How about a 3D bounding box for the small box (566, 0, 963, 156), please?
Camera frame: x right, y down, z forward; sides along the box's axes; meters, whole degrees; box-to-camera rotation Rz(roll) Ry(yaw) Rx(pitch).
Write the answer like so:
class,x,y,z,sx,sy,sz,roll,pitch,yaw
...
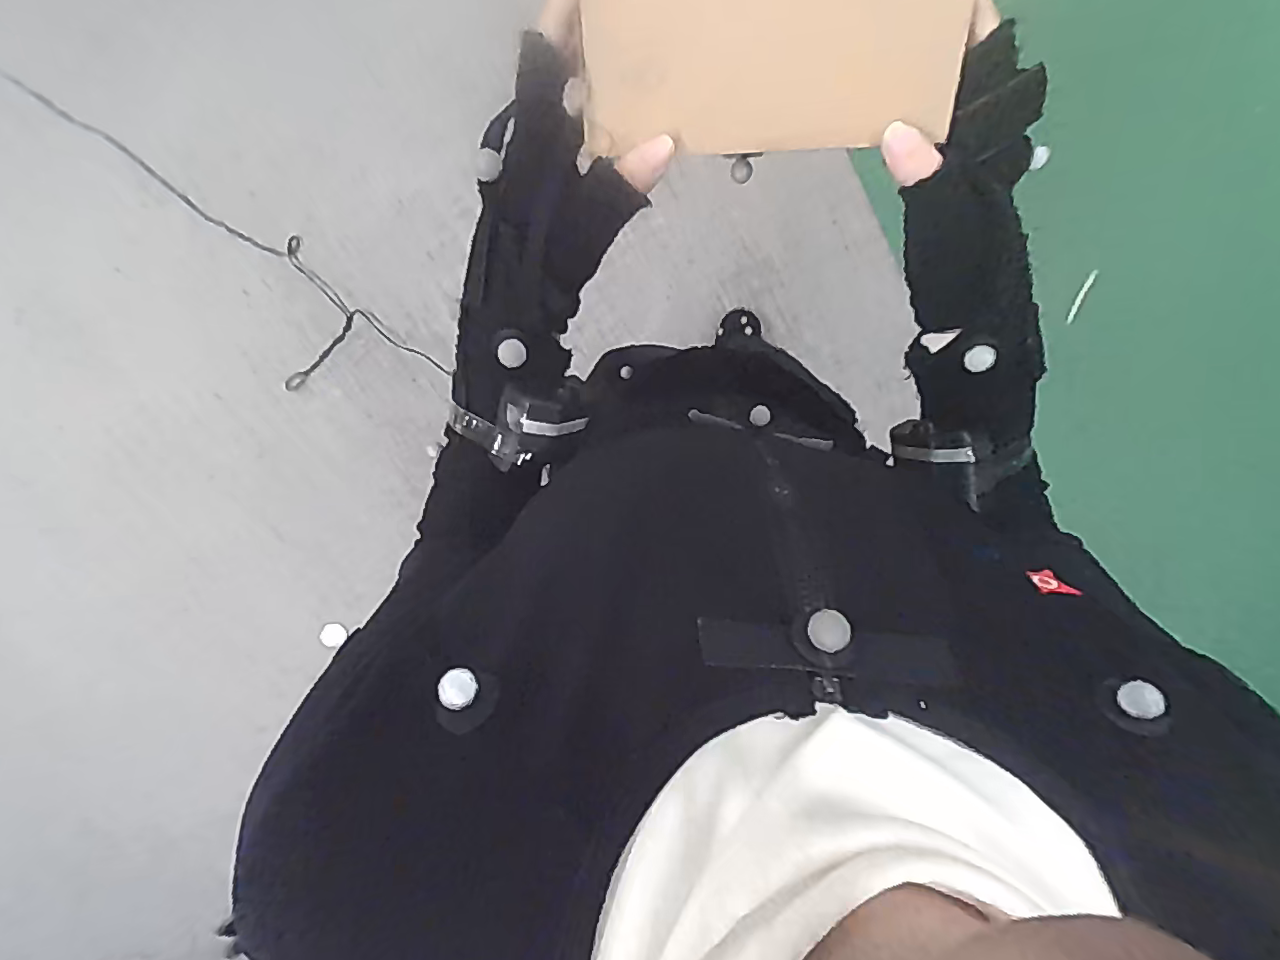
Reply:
class,x,y,z,sx,sy,sz,roll,pitch,yaw
small box,0.053,-0.276,0.292,0.179,0.176,0.168,-4,122,2
